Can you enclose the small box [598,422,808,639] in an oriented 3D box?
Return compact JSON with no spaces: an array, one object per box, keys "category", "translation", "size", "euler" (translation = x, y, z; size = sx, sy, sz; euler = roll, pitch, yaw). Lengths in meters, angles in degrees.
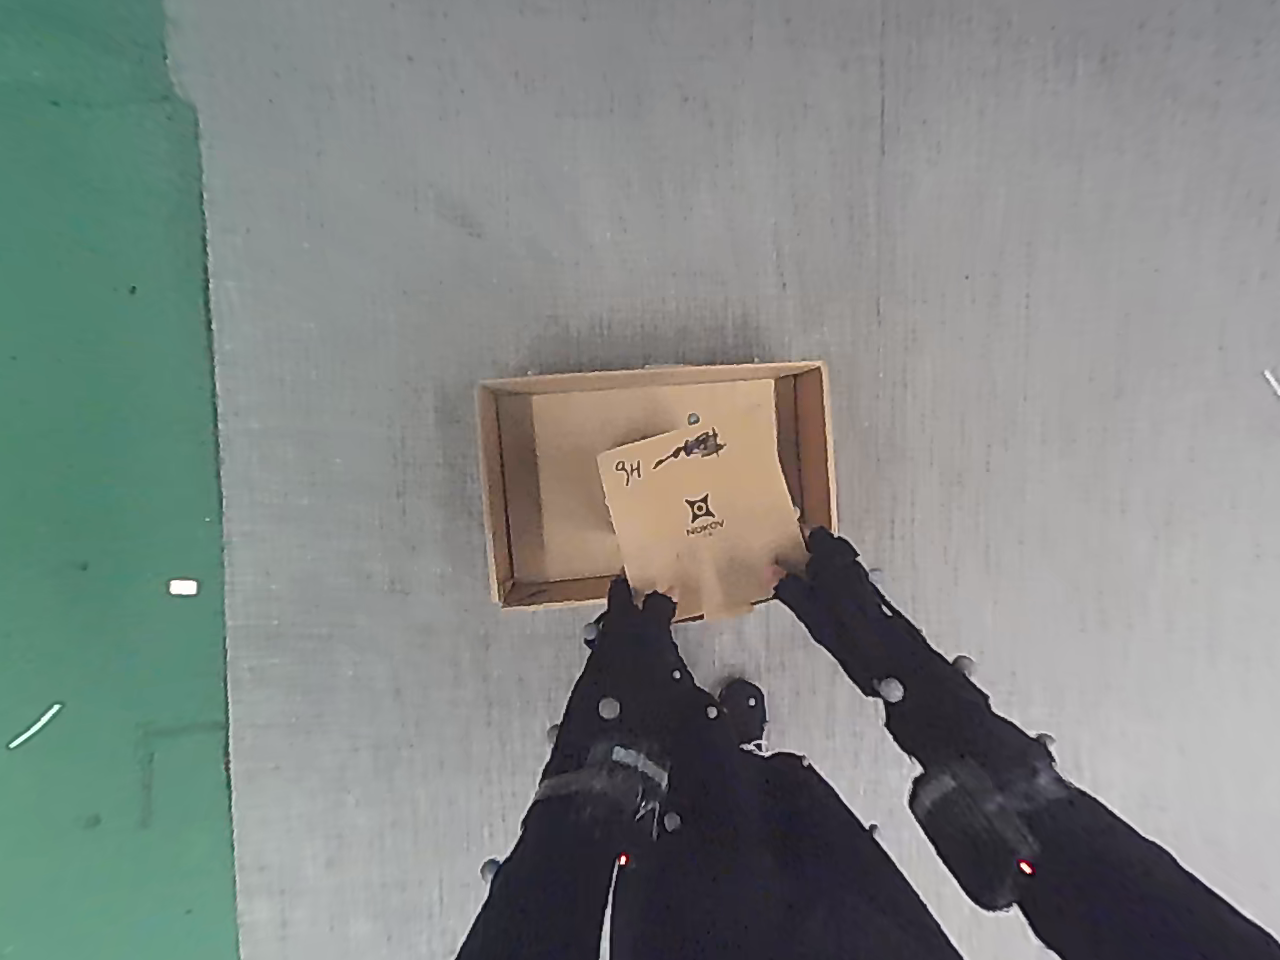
[{"category":"small box","translation":[0.073,0.056,0.596],"size":[0.168,0.176,0.179],"euler":[-18,81,9]}]
